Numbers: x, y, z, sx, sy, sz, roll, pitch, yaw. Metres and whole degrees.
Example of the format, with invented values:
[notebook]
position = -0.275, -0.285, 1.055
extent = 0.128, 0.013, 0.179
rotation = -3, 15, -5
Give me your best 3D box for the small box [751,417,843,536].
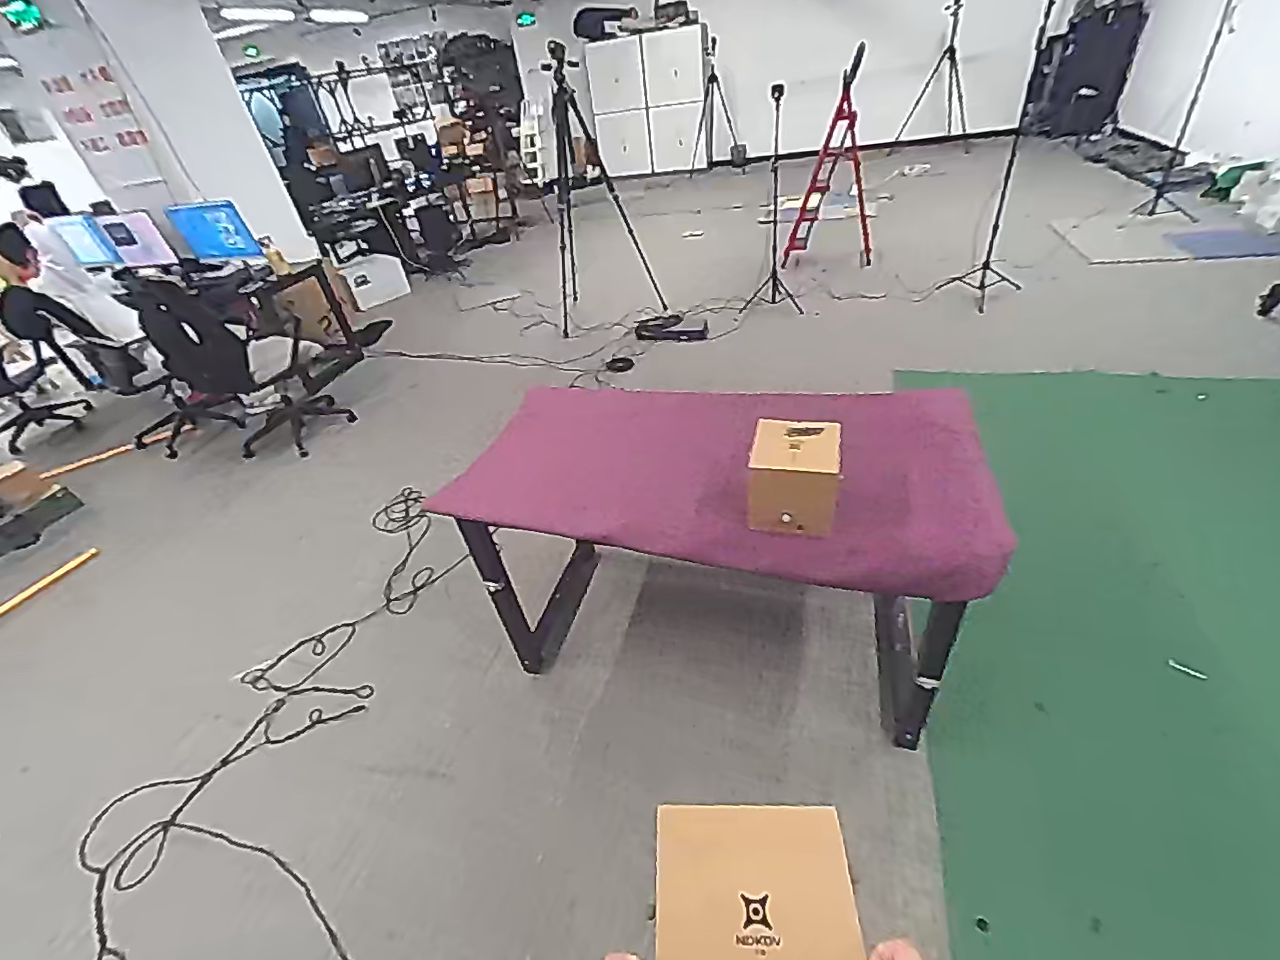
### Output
[small box]
position = 0.323, -0.010, 1.117
extent = 0.168, 0.176, 0.179
rotation = 4, 40, 18
